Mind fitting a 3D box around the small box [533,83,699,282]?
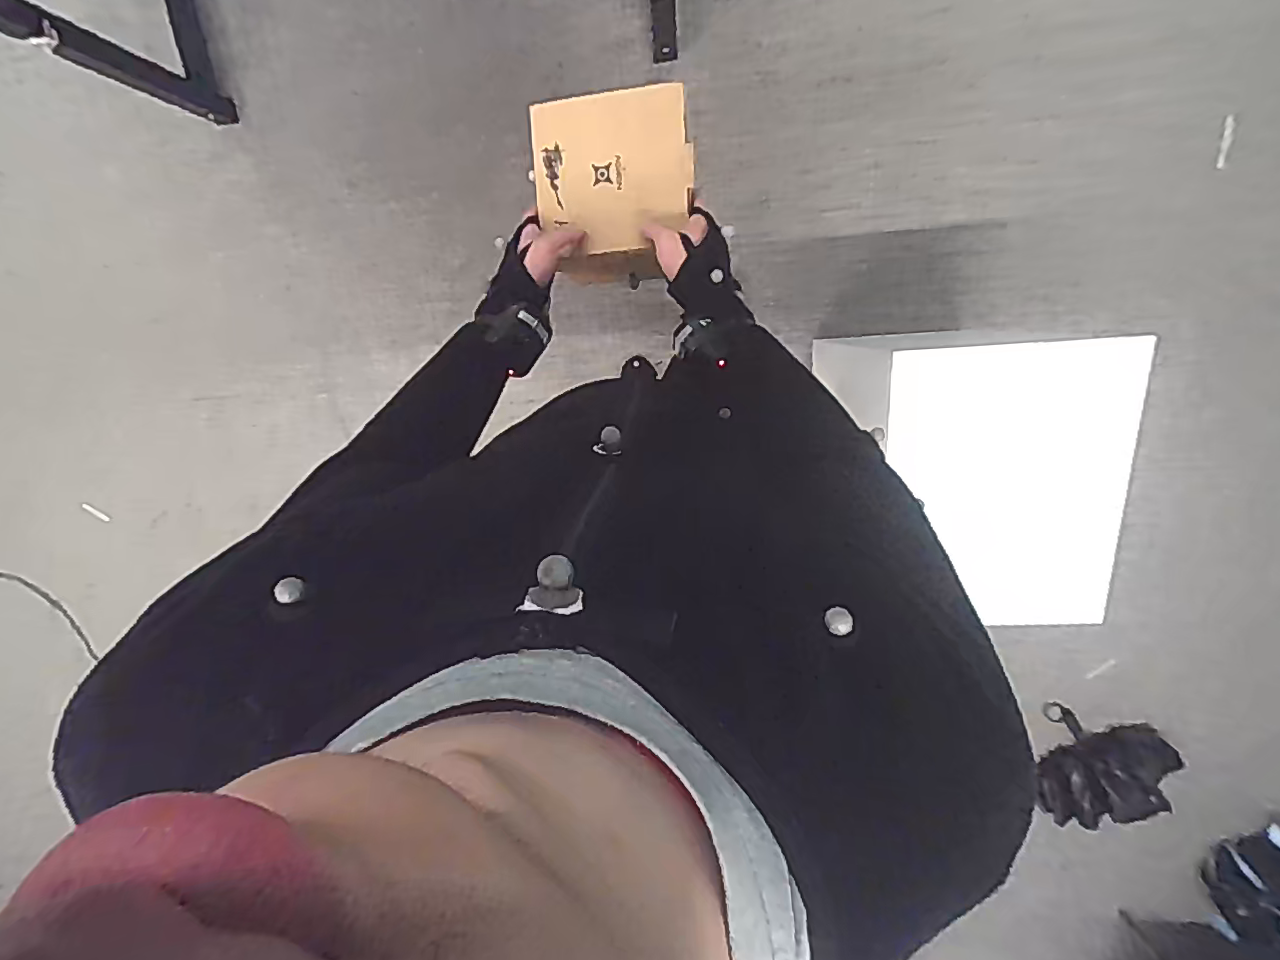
[{"bbox_3d":[-0.018,-0.348,0.668,0.179,0.176,0.168,-2,100,7],"label":"small box"}]
